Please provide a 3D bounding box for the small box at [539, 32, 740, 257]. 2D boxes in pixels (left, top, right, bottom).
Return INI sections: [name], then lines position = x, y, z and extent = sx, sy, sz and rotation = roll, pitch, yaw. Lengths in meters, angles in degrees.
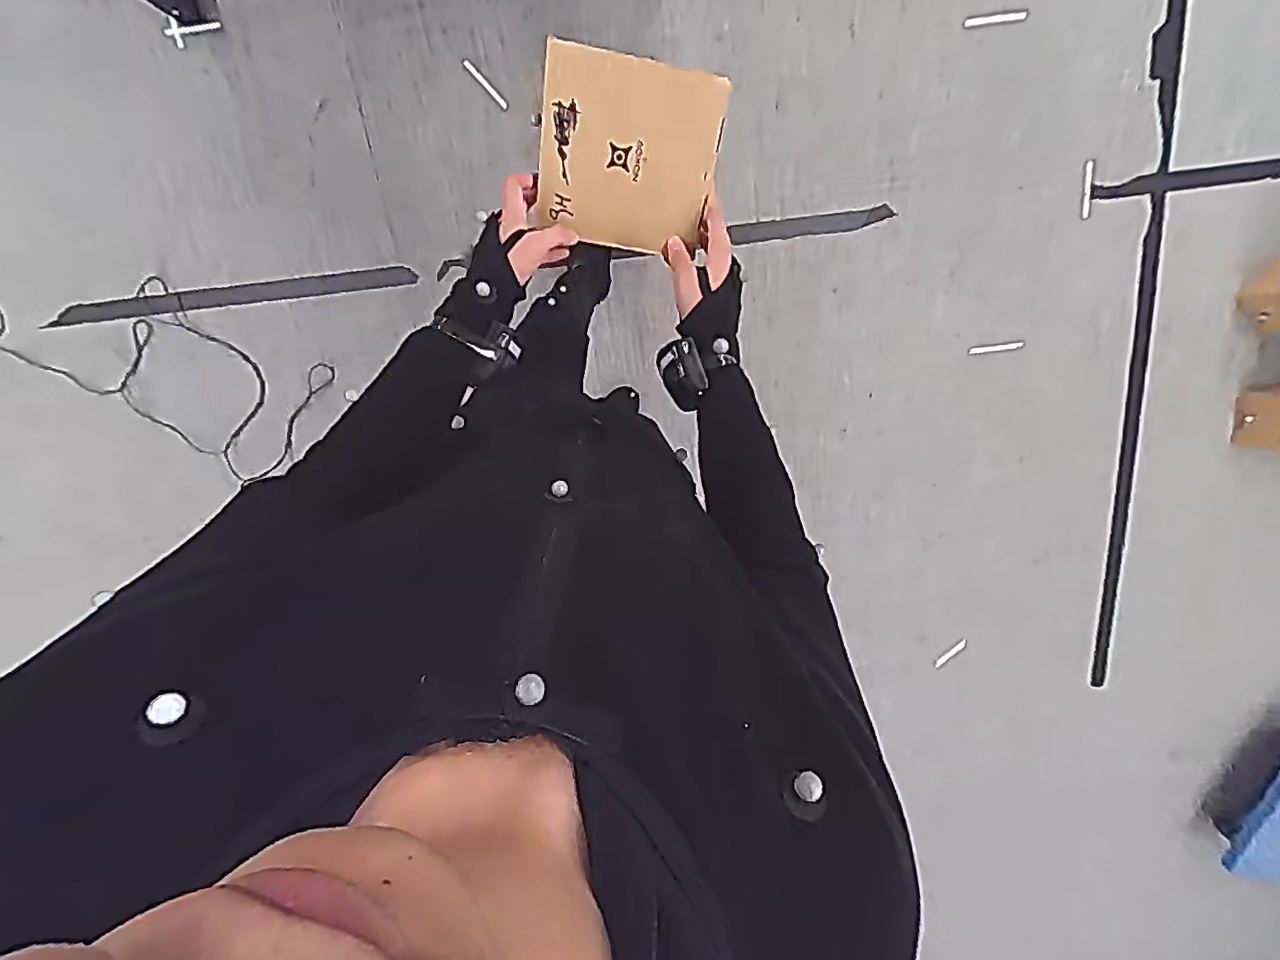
[small box]
position = -0.009, -0.365, 0.599
extent = 0.179, 0.176, 0.168
rotation = 8, 123, -7
